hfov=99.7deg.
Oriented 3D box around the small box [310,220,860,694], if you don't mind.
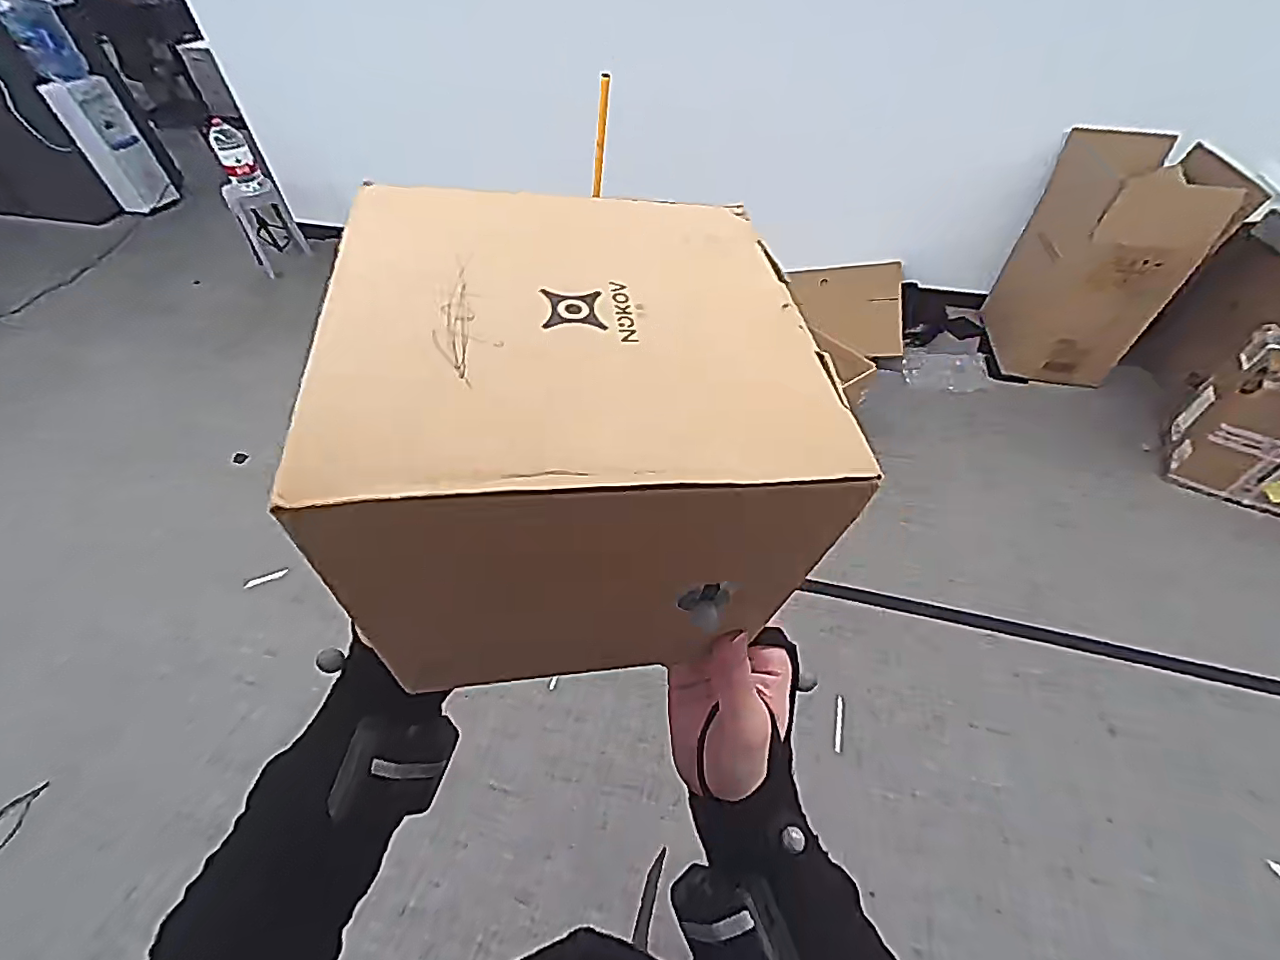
[{"bbox_3d":[-0.031,-0.006,0.276,0.179,0.176,0.168,-5,53,-11],"label":"small box"}]
